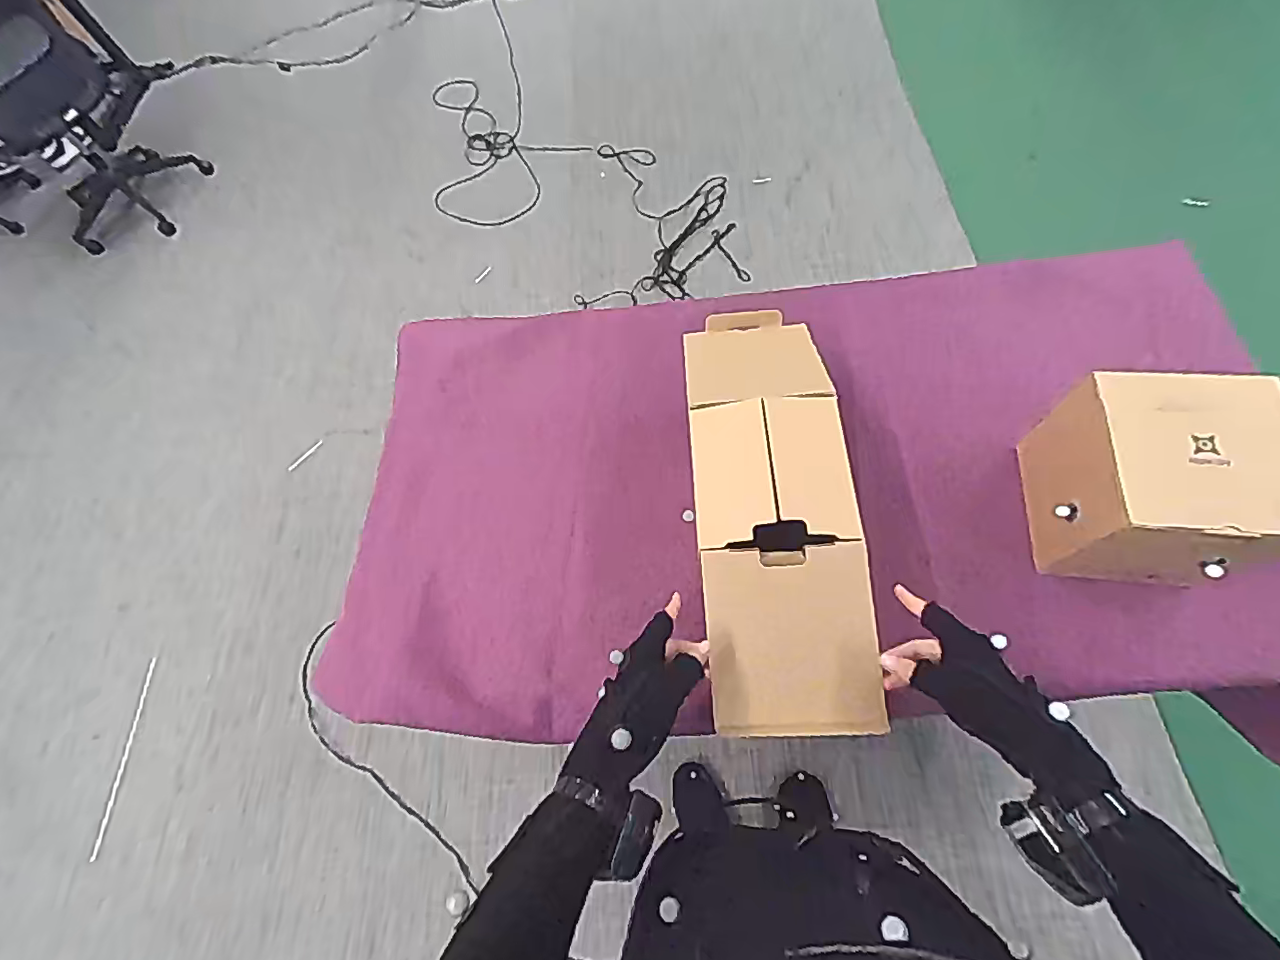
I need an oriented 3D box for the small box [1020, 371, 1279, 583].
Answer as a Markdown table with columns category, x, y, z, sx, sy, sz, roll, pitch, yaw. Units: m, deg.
| category | x | y | z | sx | sy | sz | roll | pitch | yaw |
| --- | --- | --- | --- | --- | --- | --- | --- | --- | --- |
| small box | 0.551 | 0.004 | 0.588 | 0.168 | 0.176 | 0.179 | 5 | 66 | 11 |
